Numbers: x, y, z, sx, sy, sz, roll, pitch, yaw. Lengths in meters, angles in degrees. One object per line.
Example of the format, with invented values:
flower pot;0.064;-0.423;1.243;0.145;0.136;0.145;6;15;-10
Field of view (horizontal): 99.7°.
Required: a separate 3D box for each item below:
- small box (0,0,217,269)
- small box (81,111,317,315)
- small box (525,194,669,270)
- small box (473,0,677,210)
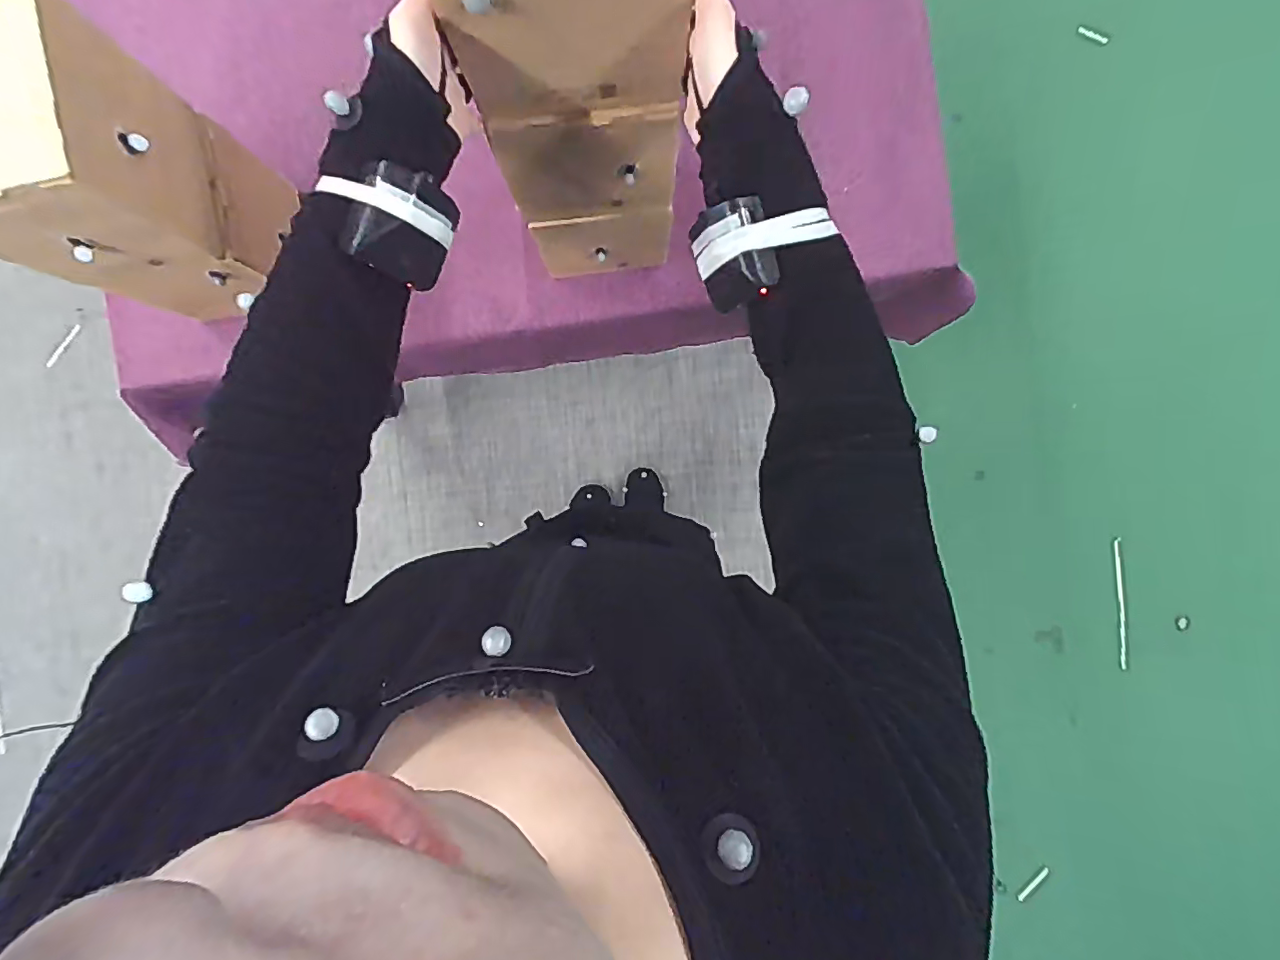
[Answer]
small box;-0.557;-0.321;0.522;0.168;0.176;0.179;-10;92;-1
small box;-0.553;-0.322;0.686;0.179;0.176;0.168;-10;91;-1
small box;-0.054;-0.381;0.686;0.168;0.176;0.179;-7;91;0
small box;-0.054;-0.382;0.523;0.168;0.176;0.179;-5;91;0
